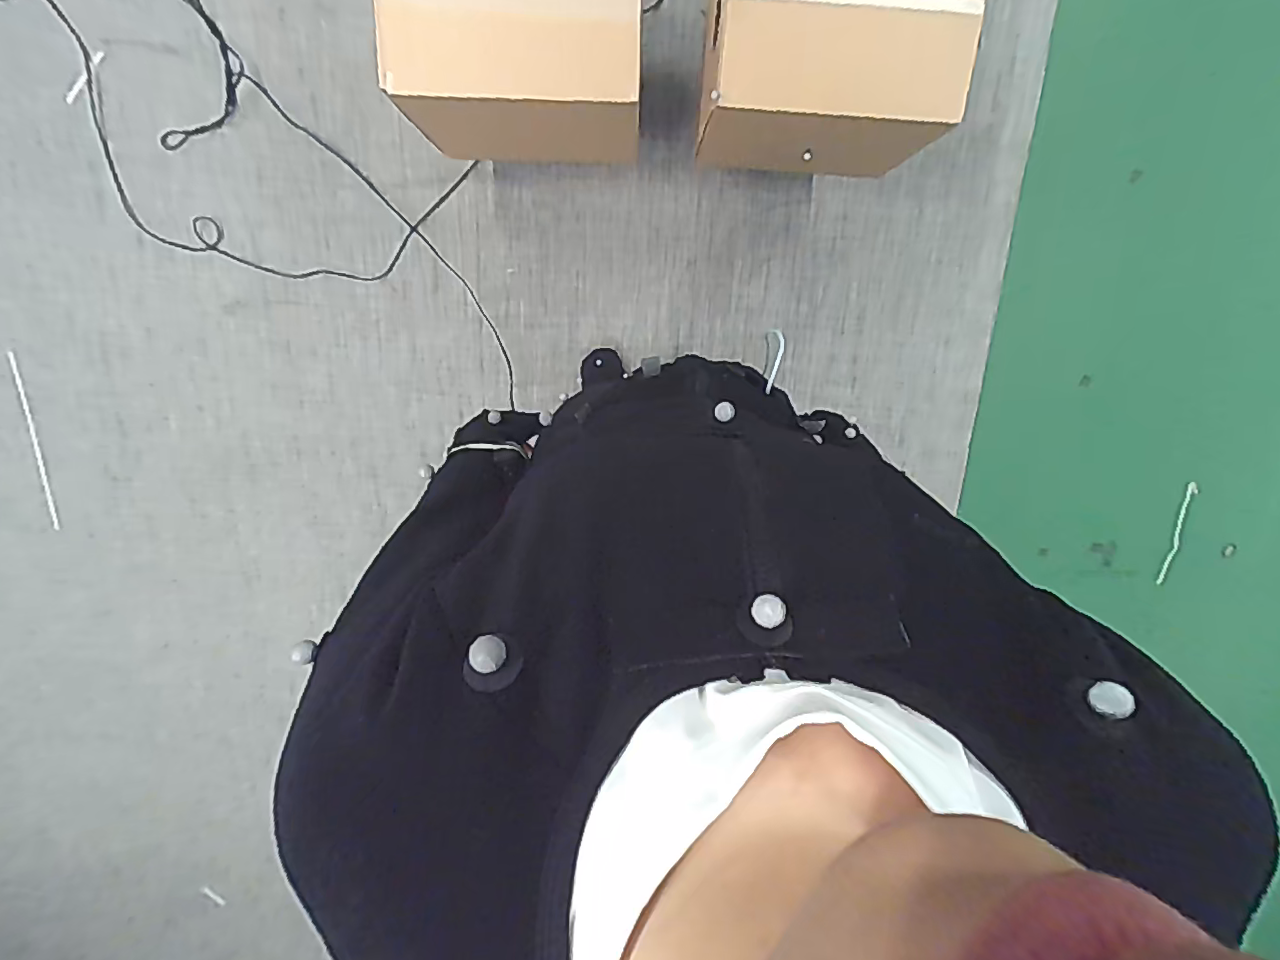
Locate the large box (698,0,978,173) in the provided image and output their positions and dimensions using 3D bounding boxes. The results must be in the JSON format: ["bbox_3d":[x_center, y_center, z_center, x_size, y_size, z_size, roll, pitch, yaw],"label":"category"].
[{"bbox_3d":[0.333,-0.783,0.995,0.408,0.320,0.320,4,104,-1],"label":"large box"}]
